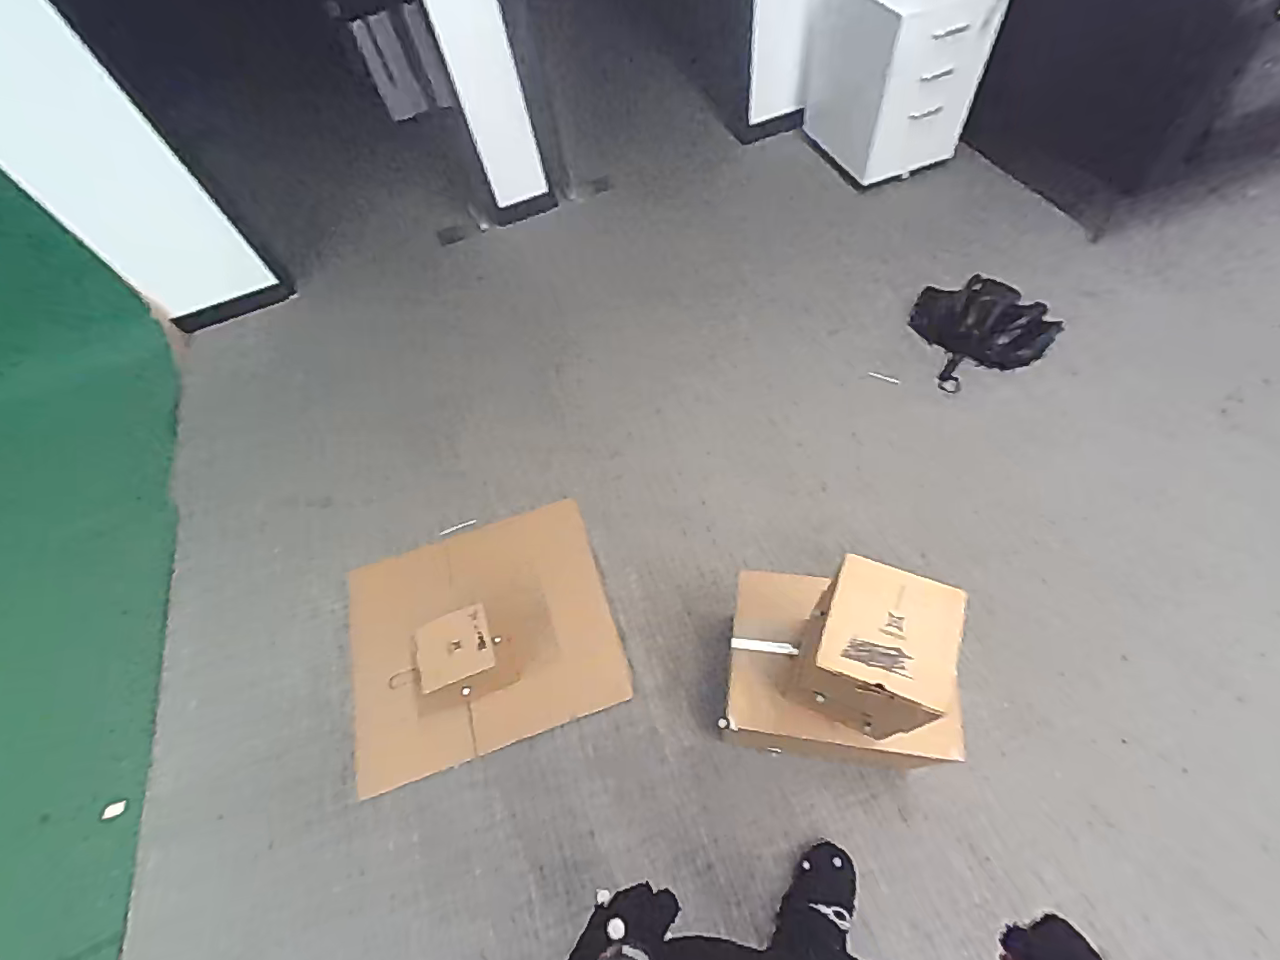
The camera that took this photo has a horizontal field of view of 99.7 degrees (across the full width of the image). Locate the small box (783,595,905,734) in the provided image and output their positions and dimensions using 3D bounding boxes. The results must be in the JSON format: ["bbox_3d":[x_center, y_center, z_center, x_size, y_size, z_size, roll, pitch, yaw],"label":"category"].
[{"bbox_3d":[0.364,0.326,0.944,0.179,0.176,0.168,17,62,19],"label":"small box"}]

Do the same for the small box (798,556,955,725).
[{"bbox_3d":[0.341,0.244,0.804,0.168,0.176,0.179,16,63,16],"label":"small box"}]

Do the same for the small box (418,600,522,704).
[{"bbox_3d":[-0.417,0.430,1.337,0.179,0.176,0.168,-24,56,-5],"label":"small box"}]
